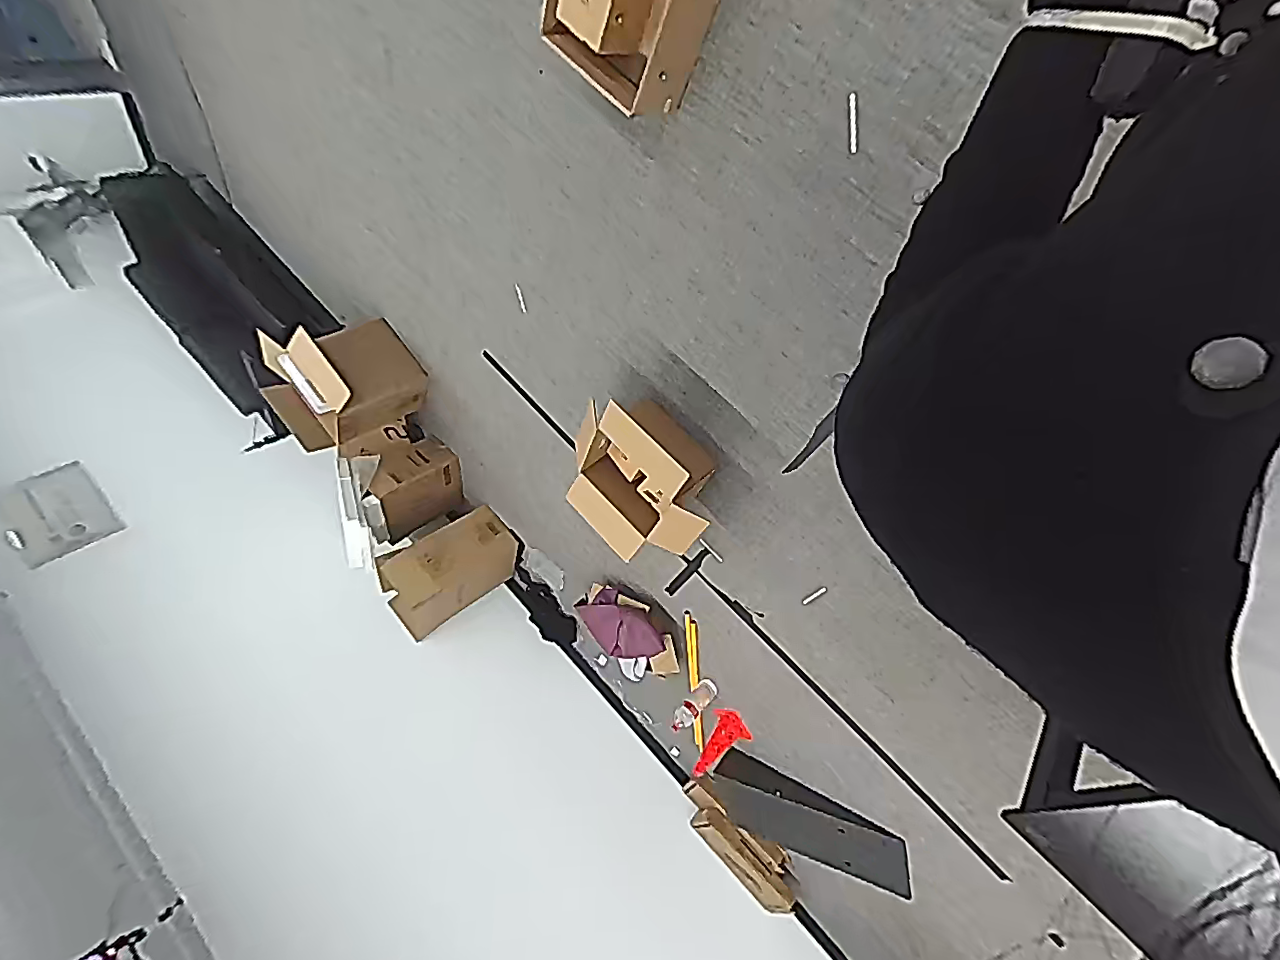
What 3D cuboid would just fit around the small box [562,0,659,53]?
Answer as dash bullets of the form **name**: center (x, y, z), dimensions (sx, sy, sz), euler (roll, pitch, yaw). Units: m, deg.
- **small box**: center (-0.070, -1.245, 1.395), dimensions (0.168, 0.176, 0.179), euler (46, 142, 8)
